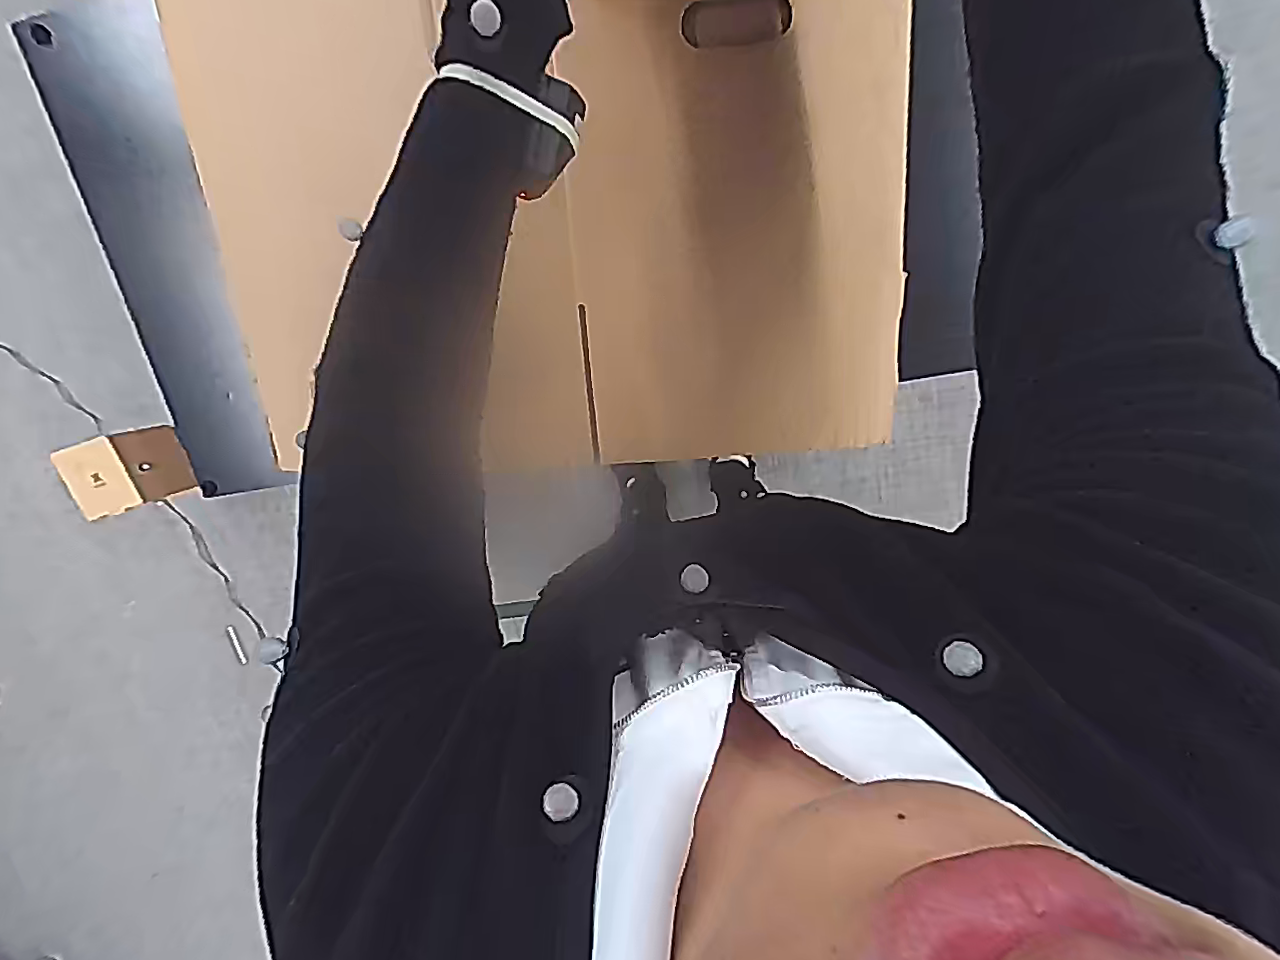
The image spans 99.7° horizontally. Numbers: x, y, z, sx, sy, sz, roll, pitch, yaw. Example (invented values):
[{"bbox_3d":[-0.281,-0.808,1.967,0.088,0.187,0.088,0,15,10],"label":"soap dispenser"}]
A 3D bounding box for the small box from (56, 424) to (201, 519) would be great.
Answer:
[{"bbox_3d":[-1.259,-0.027,1.349,0.168,0.176,0.179,-16,102,8],"label":"small box"}]

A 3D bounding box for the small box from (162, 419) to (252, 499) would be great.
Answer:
[{"bbox_3d":[-1.242,-0.065,1.506,0.168,0.176,0.179,-13,104,9],"label":"small box"}]
